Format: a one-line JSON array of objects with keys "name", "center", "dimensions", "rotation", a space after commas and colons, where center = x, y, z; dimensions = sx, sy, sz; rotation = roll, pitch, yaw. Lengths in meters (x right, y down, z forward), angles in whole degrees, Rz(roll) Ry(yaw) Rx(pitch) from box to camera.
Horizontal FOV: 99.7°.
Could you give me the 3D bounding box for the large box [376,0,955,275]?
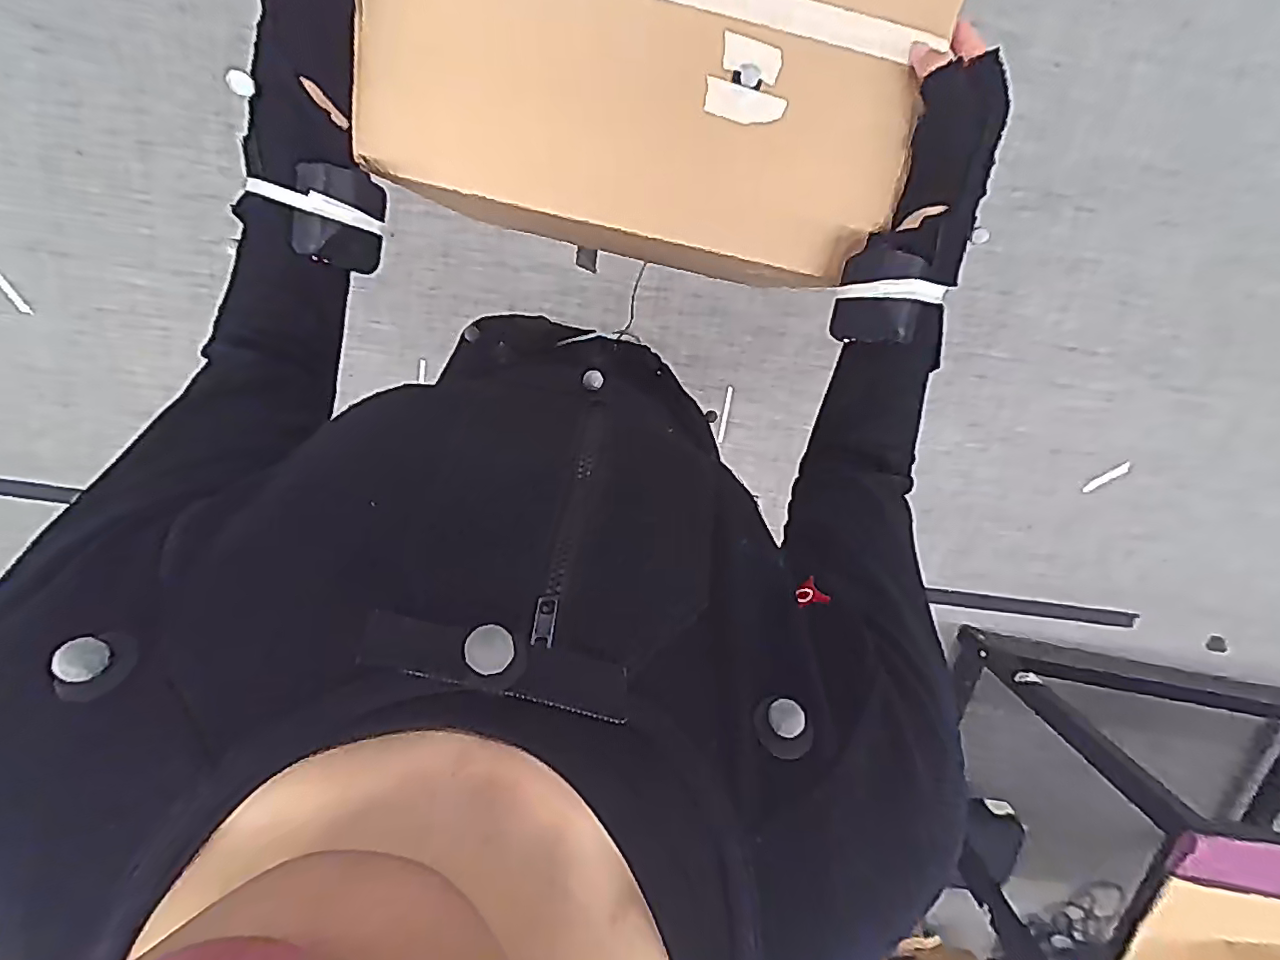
[{"name": "large box", "center": [0.015, -0.396, 0.515], "dimensions": [0.408, 0.320, 0.320], "rotation": [10, 110, -7]}]
